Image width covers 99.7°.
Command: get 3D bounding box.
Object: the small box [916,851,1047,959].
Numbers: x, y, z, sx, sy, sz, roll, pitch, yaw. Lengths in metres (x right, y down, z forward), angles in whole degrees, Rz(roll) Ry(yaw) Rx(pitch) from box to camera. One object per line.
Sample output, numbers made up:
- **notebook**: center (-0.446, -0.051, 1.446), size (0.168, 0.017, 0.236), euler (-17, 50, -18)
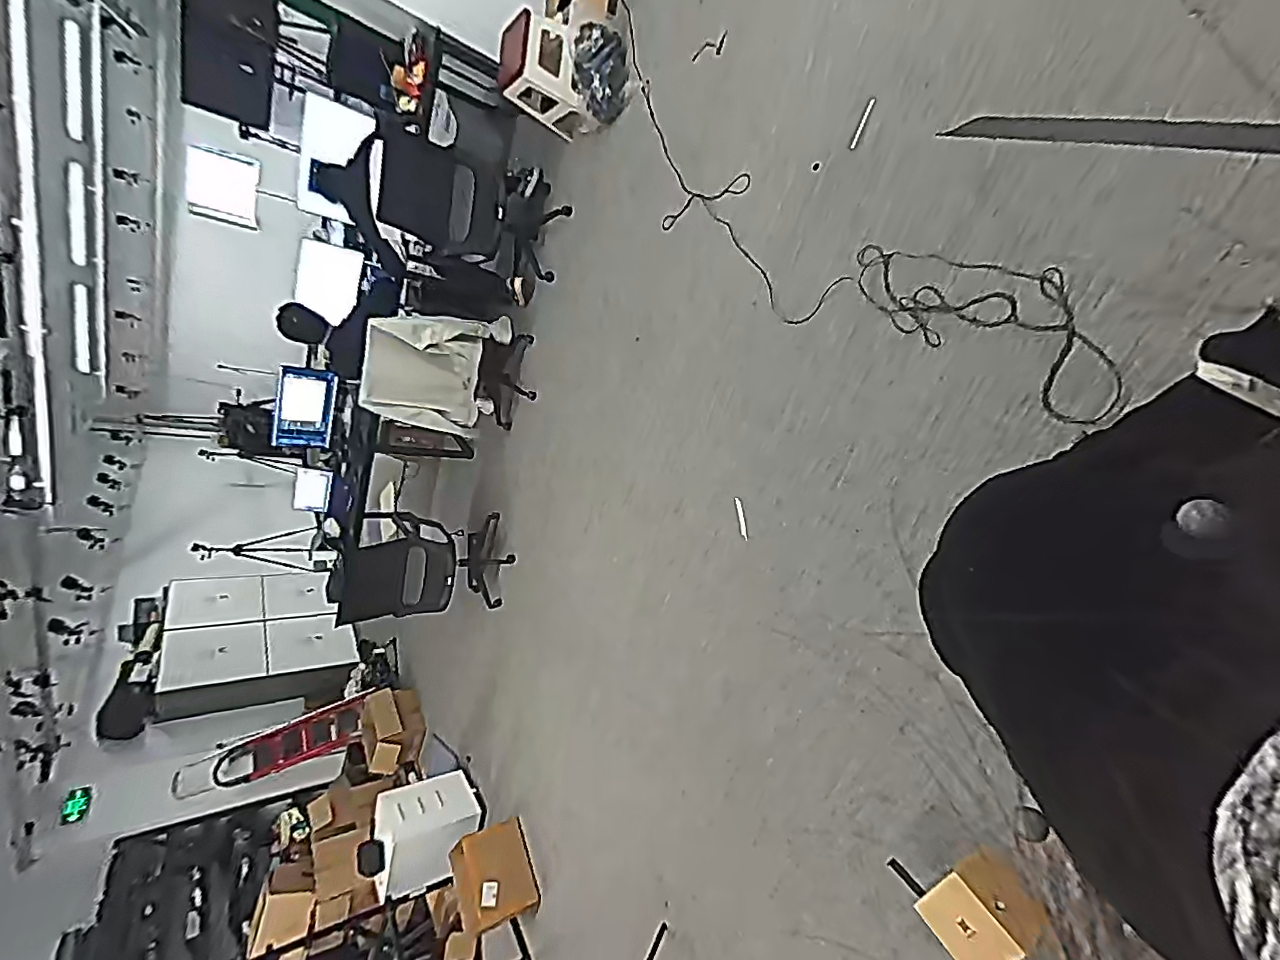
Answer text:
- **small box**: center (0.807, 1.021, 1.281), size (0.179, 0.176, 0.168), euler (47, 123, 41)
